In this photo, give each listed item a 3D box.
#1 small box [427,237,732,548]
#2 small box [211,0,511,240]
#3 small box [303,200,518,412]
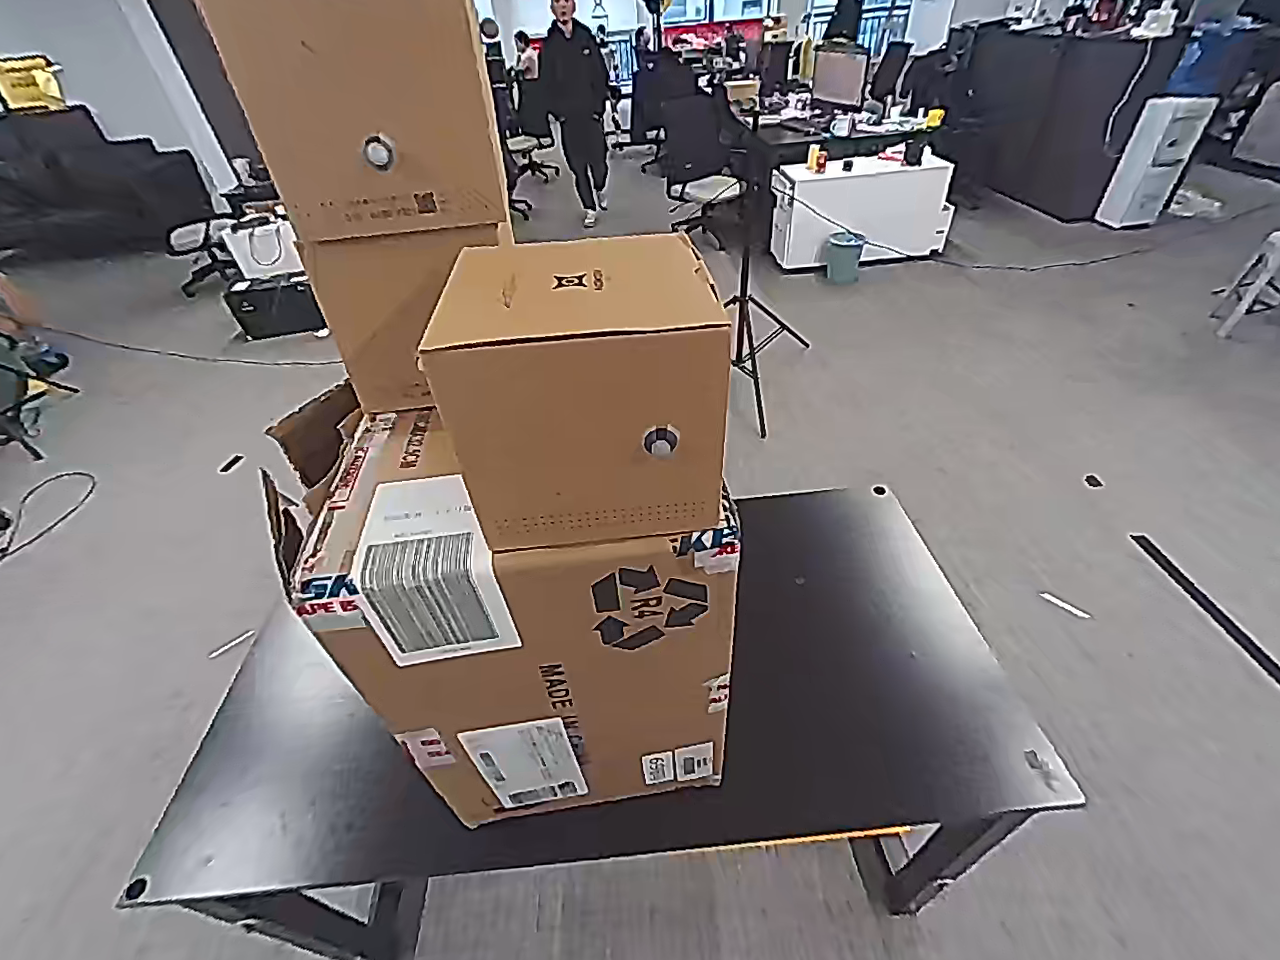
[{"bbox_3d":[-0.037,-0.067,0.416,0.179,0.176,0.168,-7,41,-2],"label":"small box"},{"bbox_3d":[-0.209,-0.314,0.456,0.168,0.176,0.179,-10,40,-7],"label":"small box"},{"bbox_3d":[-0.209,-0.191,0.567,0.168,0.176,0.179,-8,40,-6],"label":"small box"}]
